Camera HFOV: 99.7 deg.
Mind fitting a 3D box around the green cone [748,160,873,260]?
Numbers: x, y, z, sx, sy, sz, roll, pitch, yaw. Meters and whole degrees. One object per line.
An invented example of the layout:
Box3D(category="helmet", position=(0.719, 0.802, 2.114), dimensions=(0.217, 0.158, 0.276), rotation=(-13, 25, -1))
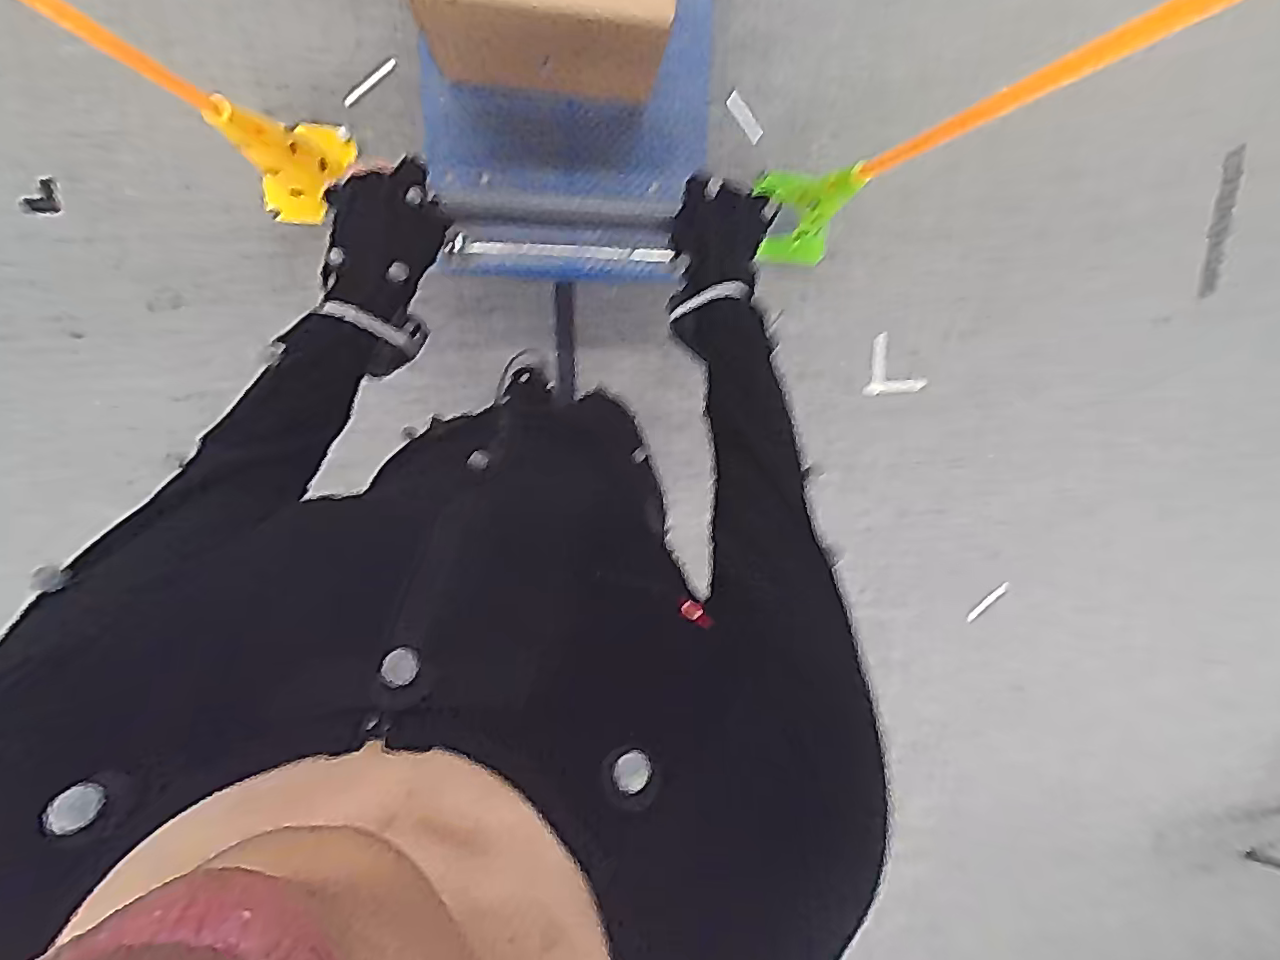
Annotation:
Box3D(category="green cone", position=(0.401, -0.633, 1.212), dimensions=(0.202, 0.368, 0.200), rotation=(1, 104, -9))

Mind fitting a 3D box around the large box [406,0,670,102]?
Box3D(category="large box", position=(-0.160, -0.895, 0.929), dimensions=(0.408, 0.320, 0.320), rotation=(1, 105, -7))
